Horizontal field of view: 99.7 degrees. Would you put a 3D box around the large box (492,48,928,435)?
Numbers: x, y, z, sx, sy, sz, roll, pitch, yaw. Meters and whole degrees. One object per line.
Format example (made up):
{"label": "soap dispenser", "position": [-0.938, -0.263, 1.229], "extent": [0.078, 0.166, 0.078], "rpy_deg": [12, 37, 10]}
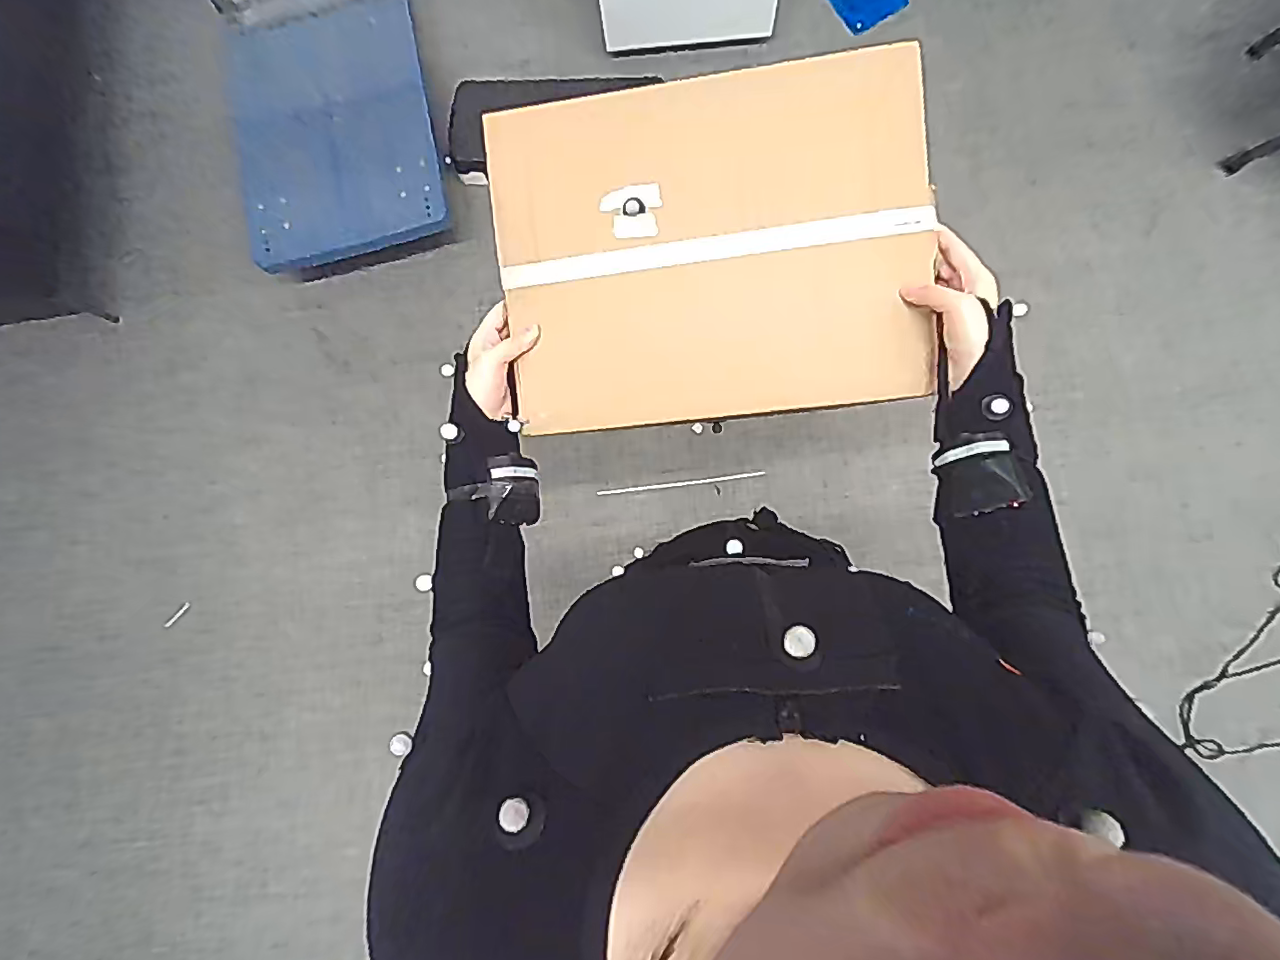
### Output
{"label": "large box", "position": [0.084, -0.236, 0.674], "extent": [0.408, 0.320, 0.320], "rpy_deg": [-6, 95, 8]}
